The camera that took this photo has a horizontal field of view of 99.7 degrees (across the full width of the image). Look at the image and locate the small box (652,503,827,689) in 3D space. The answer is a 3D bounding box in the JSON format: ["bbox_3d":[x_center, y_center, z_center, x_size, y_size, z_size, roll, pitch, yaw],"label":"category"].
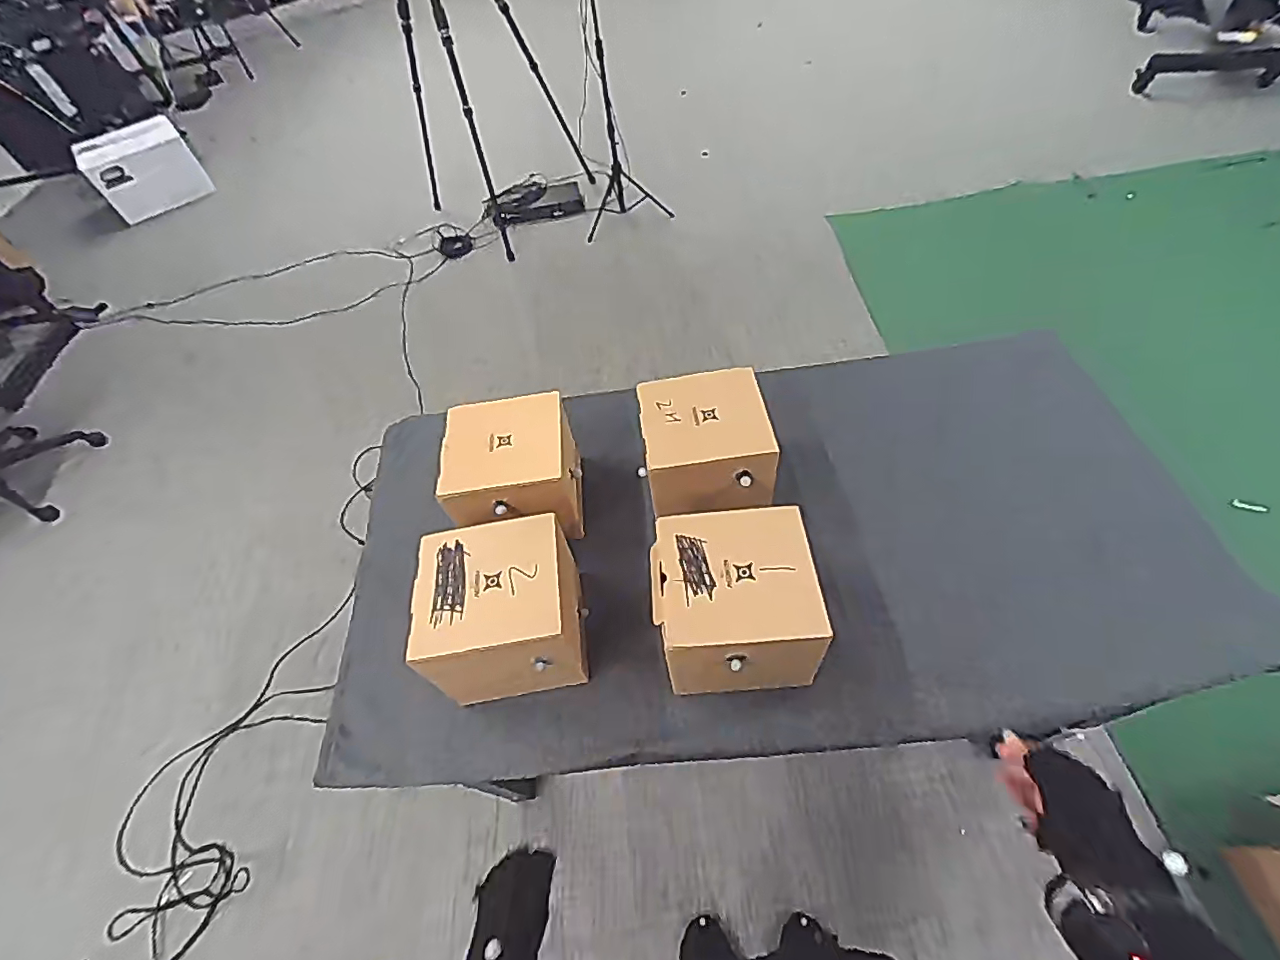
[{"bbox_3d":[0.114,0.149,0.668,0.179,0.176,0.168,-6,53,3],"label":"small box"}]

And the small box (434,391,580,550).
[{"bbox_3d":[-0.190,-0.010,0.832,0.179,0.176,0.168,-9,54,2],"label":"small box"}]
